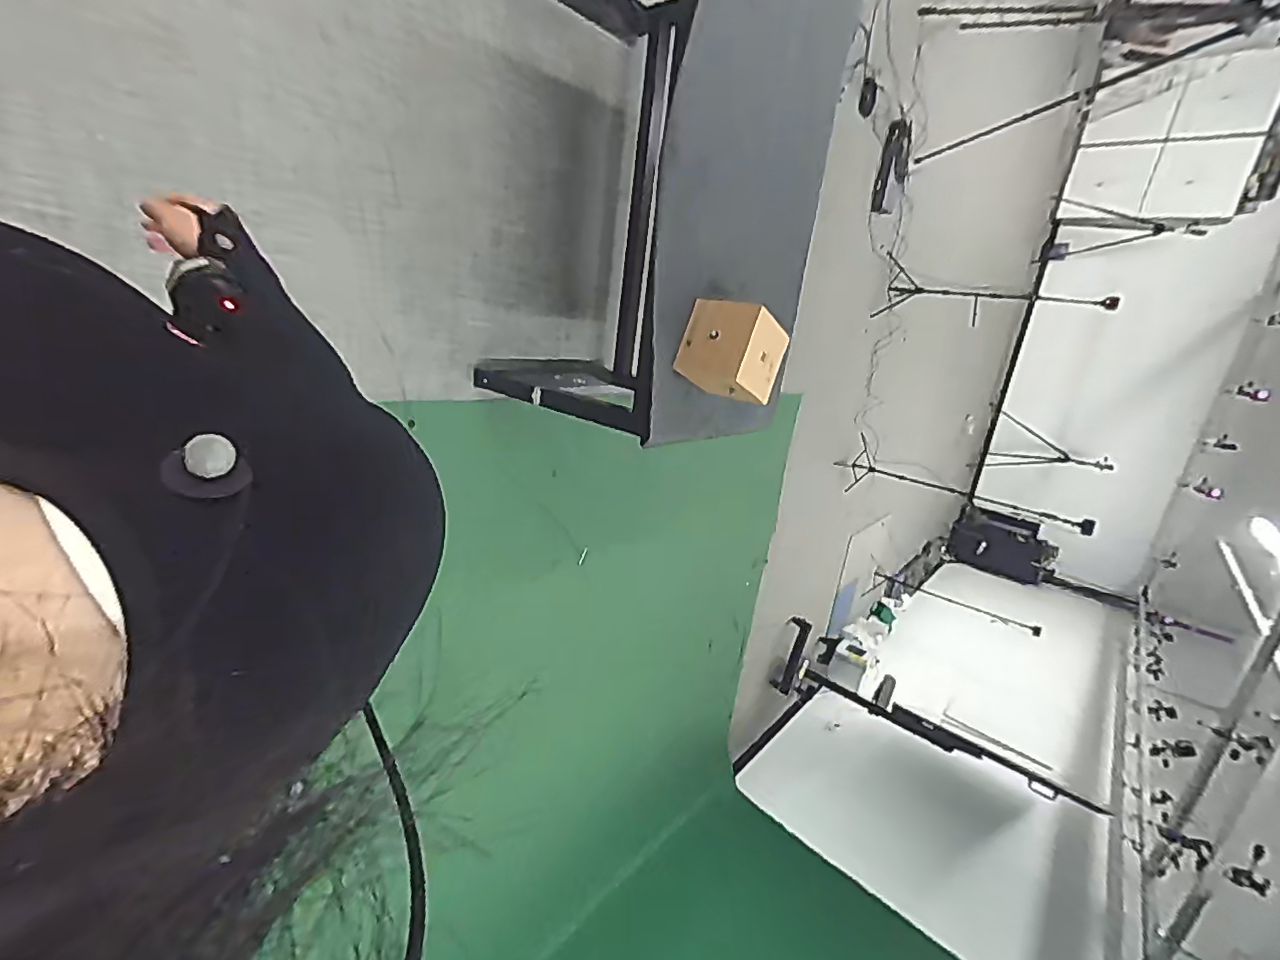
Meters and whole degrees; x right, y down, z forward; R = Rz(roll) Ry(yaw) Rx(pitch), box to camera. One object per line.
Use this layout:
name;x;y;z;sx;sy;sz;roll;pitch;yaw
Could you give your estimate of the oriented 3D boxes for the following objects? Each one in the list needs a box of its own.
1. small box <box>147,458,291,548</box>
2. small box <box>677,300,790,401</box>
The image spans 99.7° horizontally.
small box;-0.938;0.069;1.204;0.168;0.176;0.179;-54;140;-19
small box;0.209;-0.292;1.216;0.179;0.176;0.168;18;92;-54
